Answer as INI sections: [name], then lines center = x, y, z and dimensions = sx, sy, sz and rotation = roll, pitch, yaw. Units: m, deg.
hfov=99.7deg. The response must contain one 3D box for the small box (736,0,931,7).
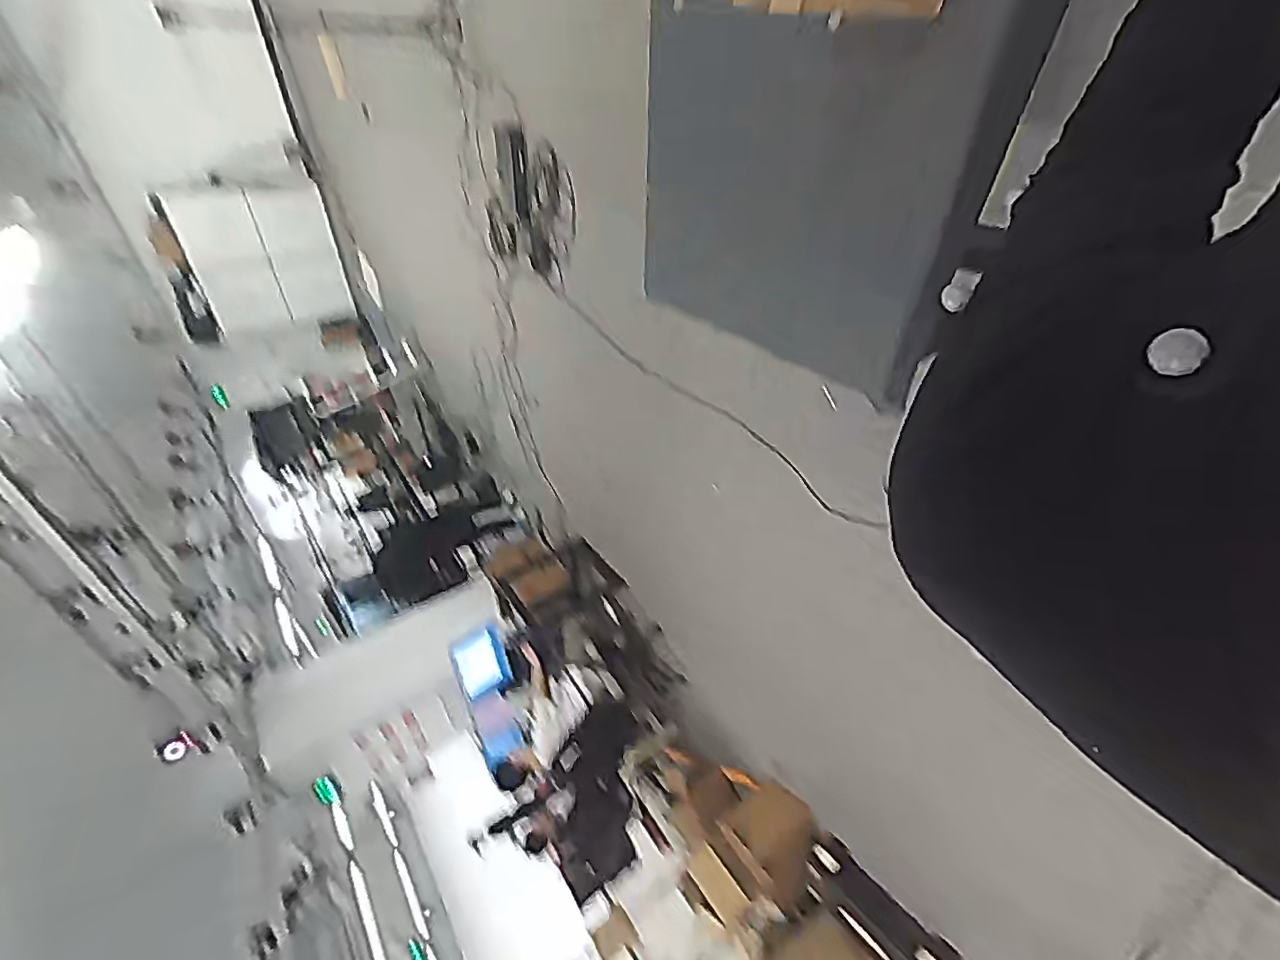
[small box]
center = 0.219, -0.602, 0.552
dimensions = 0.168, 0.176, 0.179
rotation = 44, 146, 37
